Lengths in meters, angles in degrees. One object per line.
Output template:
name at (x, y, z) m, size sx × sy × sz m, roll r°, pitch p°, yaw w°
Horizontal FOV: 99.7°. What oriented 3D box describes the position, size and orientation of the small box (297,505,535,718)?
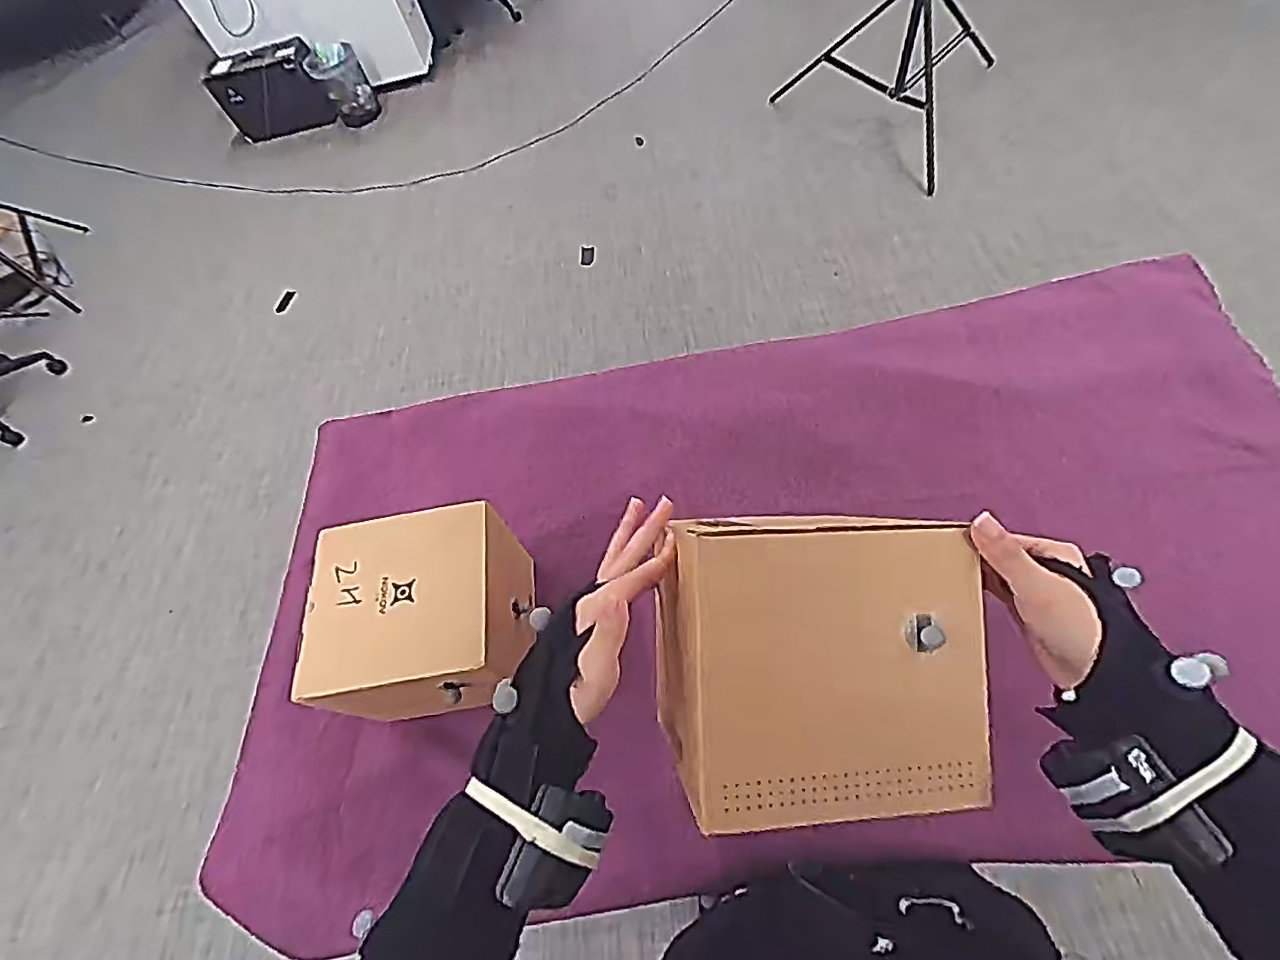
small box at (-0.215, 0.147, 0.576) m, size 0.179 × 0.176 × 0.168 m, roll -10°, pitch 59°, yaw 2°
